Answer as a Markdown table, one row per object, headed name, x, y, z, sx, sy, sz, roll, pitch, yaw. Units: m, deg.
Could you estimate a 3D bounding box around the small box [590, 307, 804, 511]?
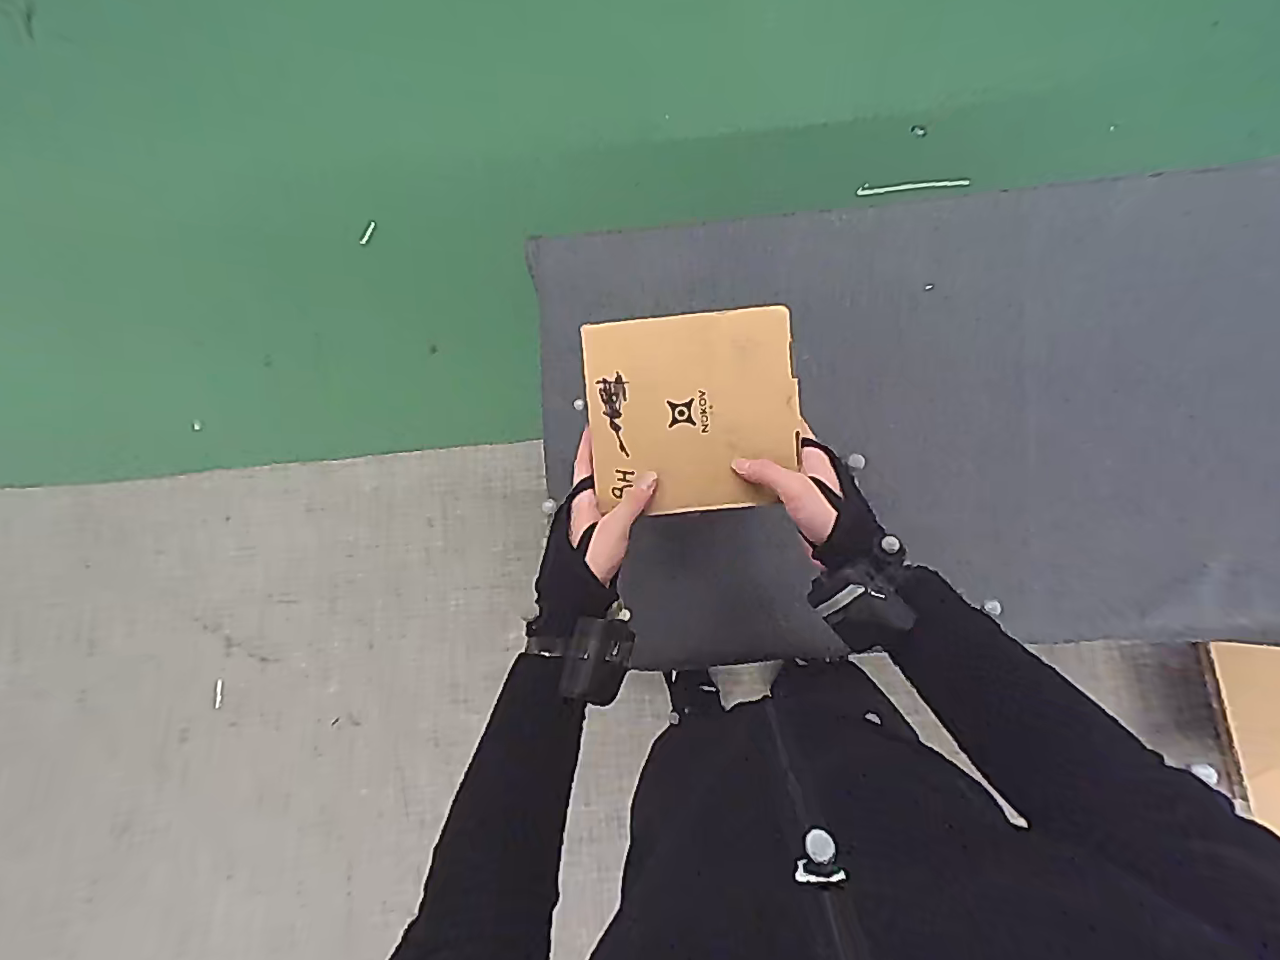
| name | x | y | z | sx | sy | sz | roll | pitch | yaw |
| --- | --- | --- | --- | --- | --- | --- | --- | --- | --- |
| small box | 0.049 | -0.061 | 0.535 | 0.179 | 0.176 | 0.168 | -4 | 90 | 2 |
